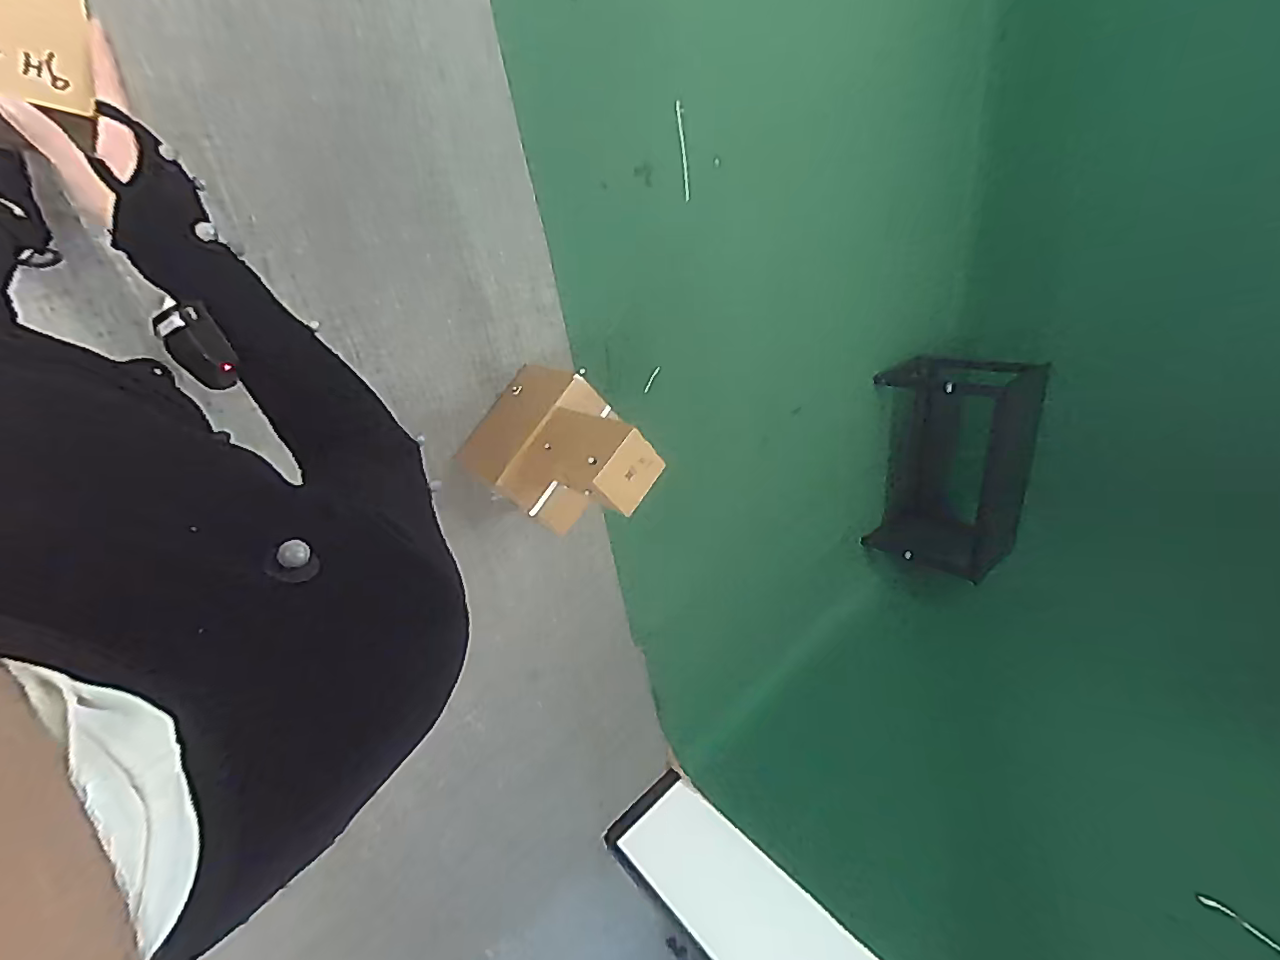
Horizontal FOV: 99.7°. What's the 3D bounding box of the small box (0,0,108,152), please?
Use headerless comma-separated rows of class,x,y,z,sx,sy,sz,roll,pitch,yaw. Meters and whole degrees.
small box,-0.538,-0.388,0.417,0.168,0.176,0.179,-8,107,-41

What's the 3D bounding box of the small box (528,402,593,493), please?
small box,-0.187,-0.096,1.515,0.179,0.176,0.168,-55,133,-12

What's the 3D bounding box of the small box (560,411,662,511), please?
small box,-0.082,-0.052,1.397,0.179,0.176,0.168,-53,133,-13
